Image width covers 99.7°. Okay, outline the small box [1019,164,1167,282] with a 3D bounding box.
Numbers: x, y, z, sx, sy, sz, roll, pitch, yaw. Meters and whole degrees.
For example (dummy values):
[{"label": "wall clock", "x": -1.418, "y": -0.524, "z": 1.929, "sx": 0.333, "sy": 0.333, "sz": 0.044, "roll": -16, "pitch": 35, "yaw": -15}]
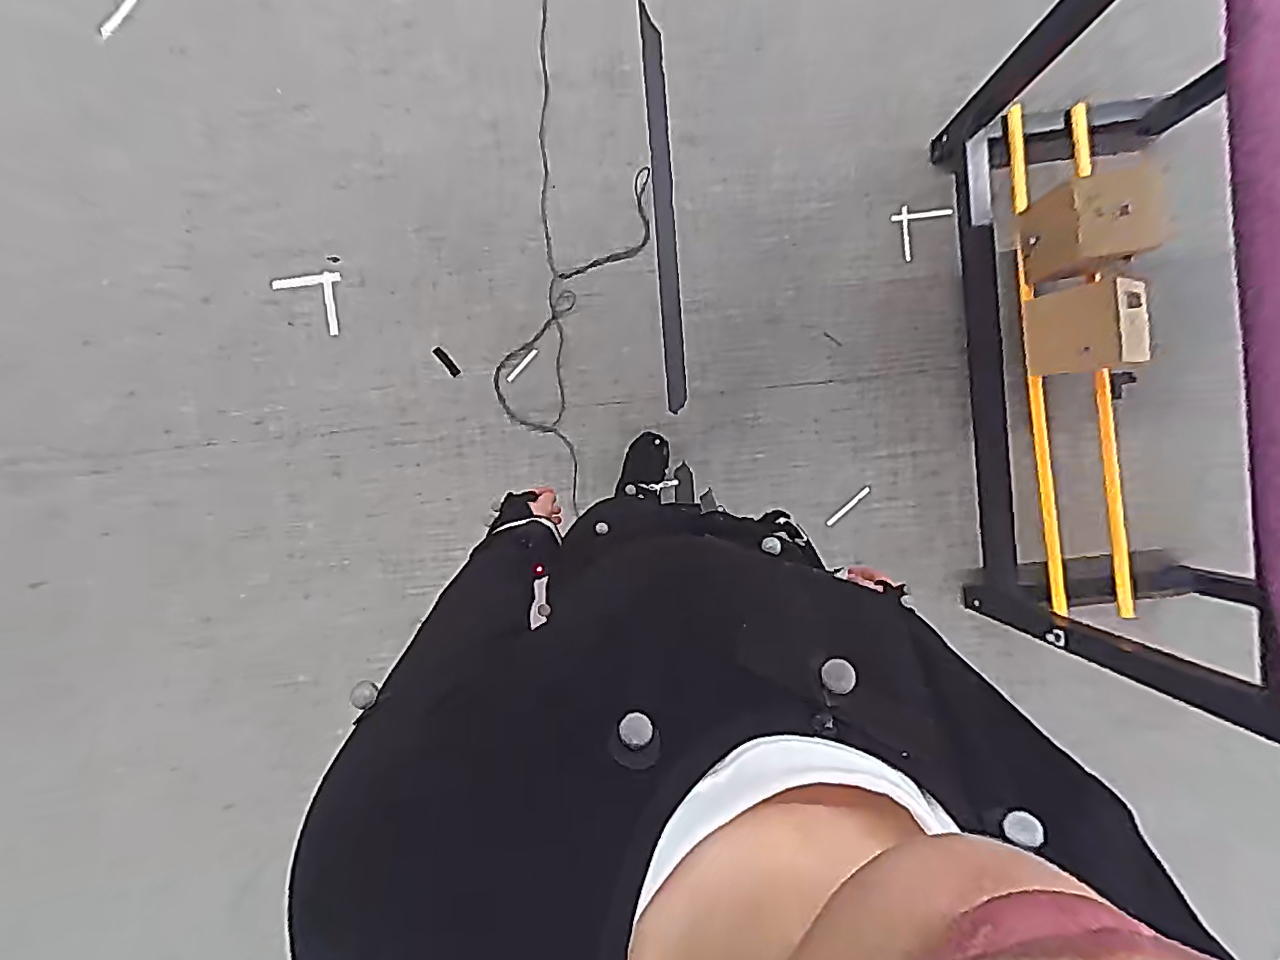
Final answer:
[{"label": "small box", "x": 0.964, "y": -0.543, "z": 1.163, "sx": 0.179, "sy": 0.176, "sz": 0.168, "roll": -8, "pitch": 92, "yaw": 2}]
